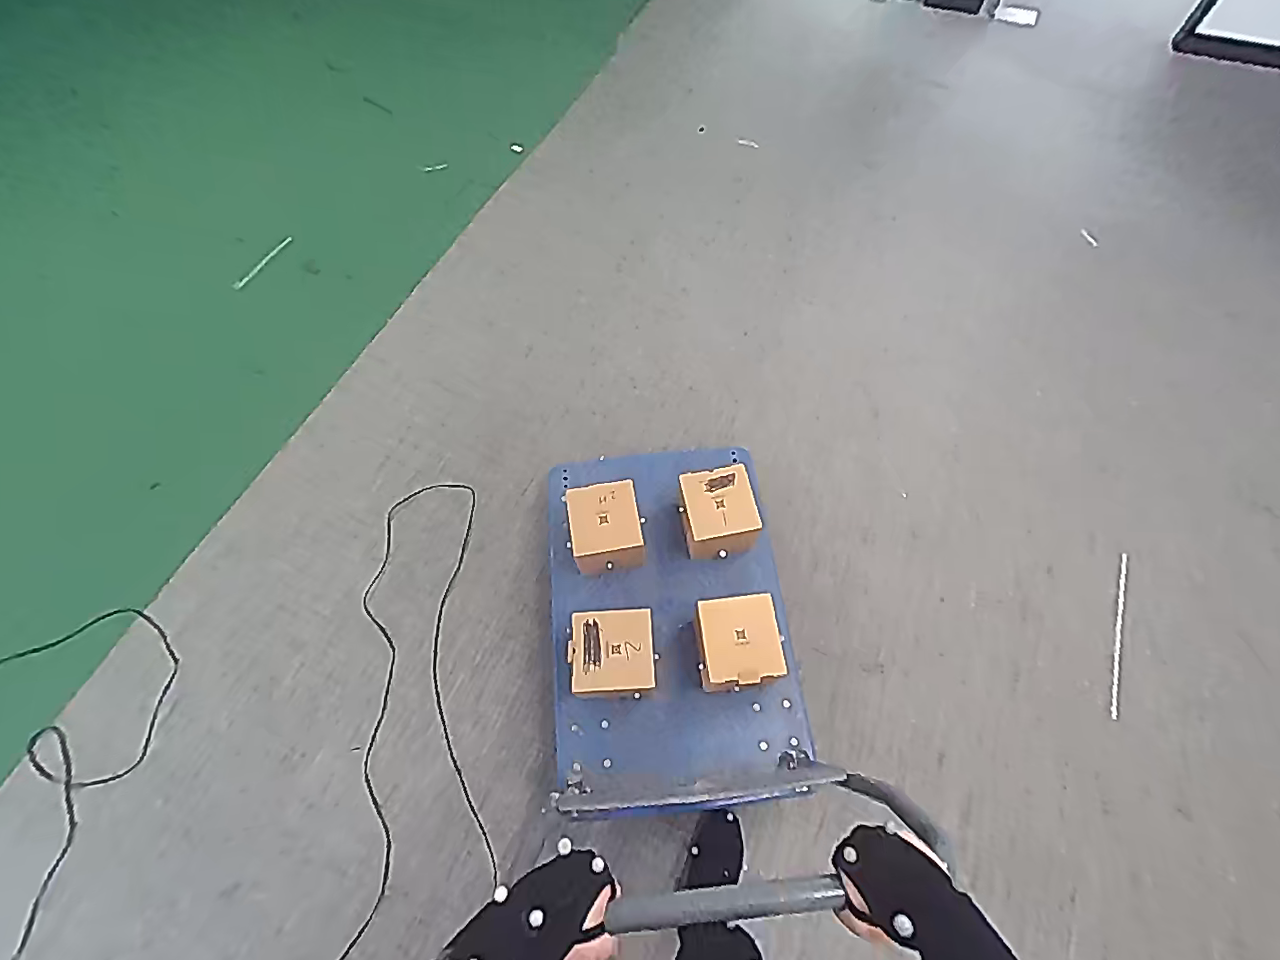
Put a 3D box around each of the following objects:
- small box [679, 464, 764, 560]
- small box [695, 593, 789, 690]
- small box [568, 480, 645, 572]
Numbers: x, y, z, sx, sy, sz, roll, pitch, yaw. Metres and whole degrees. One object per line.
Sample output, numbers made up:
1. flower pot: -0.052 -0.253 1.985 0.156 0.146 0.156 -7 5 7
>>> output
1. small box: 0.196 0.084 1.358 0.168 0.176 0.179 -10 66 -3
2. small box: 0.221 0.369 1.224 0.168 0.176 0.179 -6 65 -1
3. small box: -0.081 0.121 1.348 0.168 0.176 0.179 -9 65 -4
